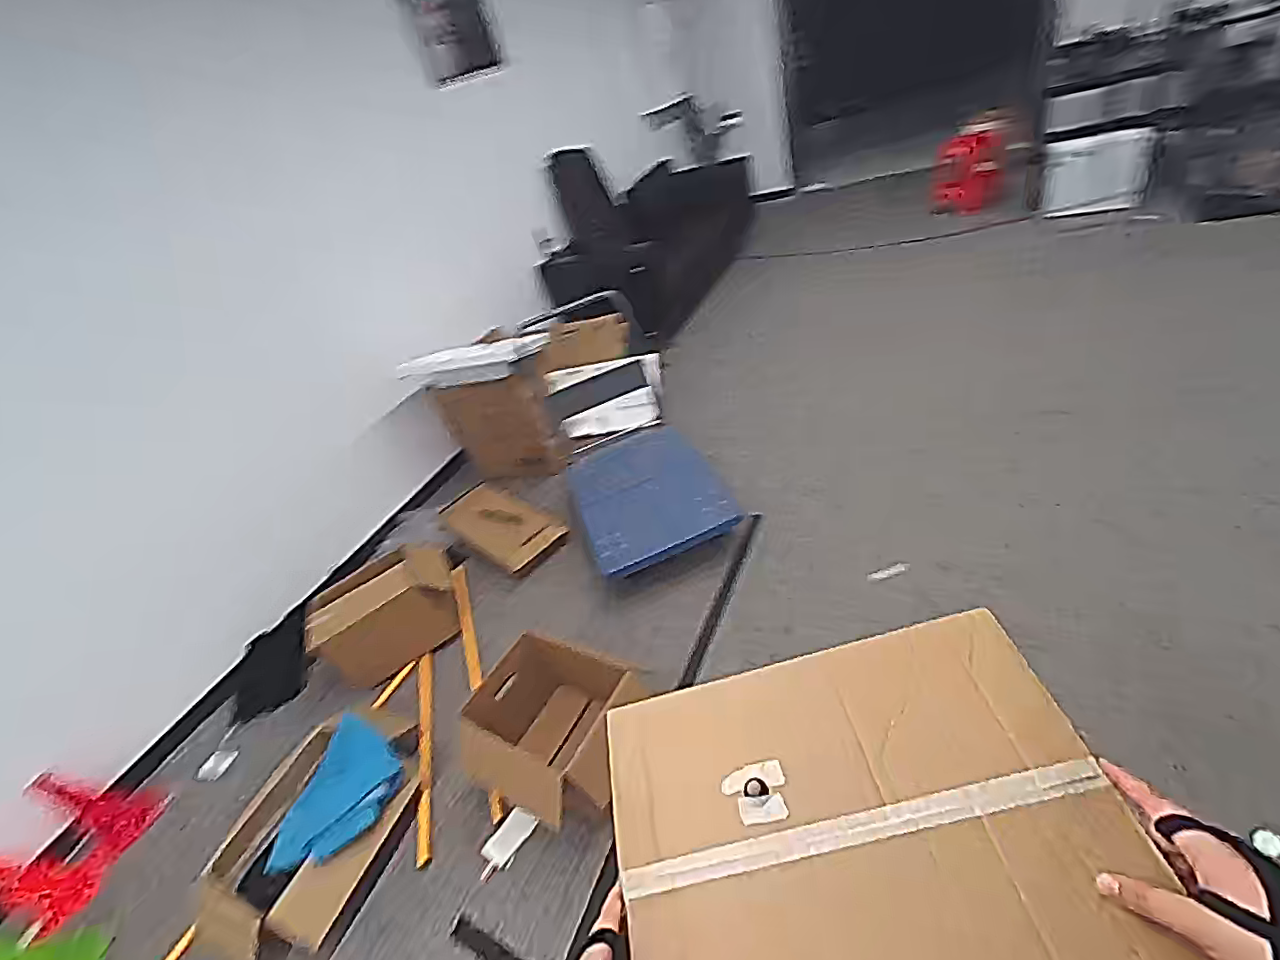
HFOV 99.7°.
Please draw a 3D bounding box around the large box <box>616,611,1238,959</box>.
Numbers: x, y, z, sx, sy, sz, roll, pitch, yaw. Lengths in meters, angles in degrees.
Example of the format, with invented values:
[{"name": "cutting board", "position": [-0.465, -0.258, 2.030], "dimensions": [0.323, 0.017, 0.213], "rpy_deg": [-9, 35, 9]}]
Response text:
[{"name": "large box", "position": [0.228, 0.390, 0.545], "dimensions": [0.408, 0.320, 0.320], "rpy_deg": [-19, 43, 8]}]
